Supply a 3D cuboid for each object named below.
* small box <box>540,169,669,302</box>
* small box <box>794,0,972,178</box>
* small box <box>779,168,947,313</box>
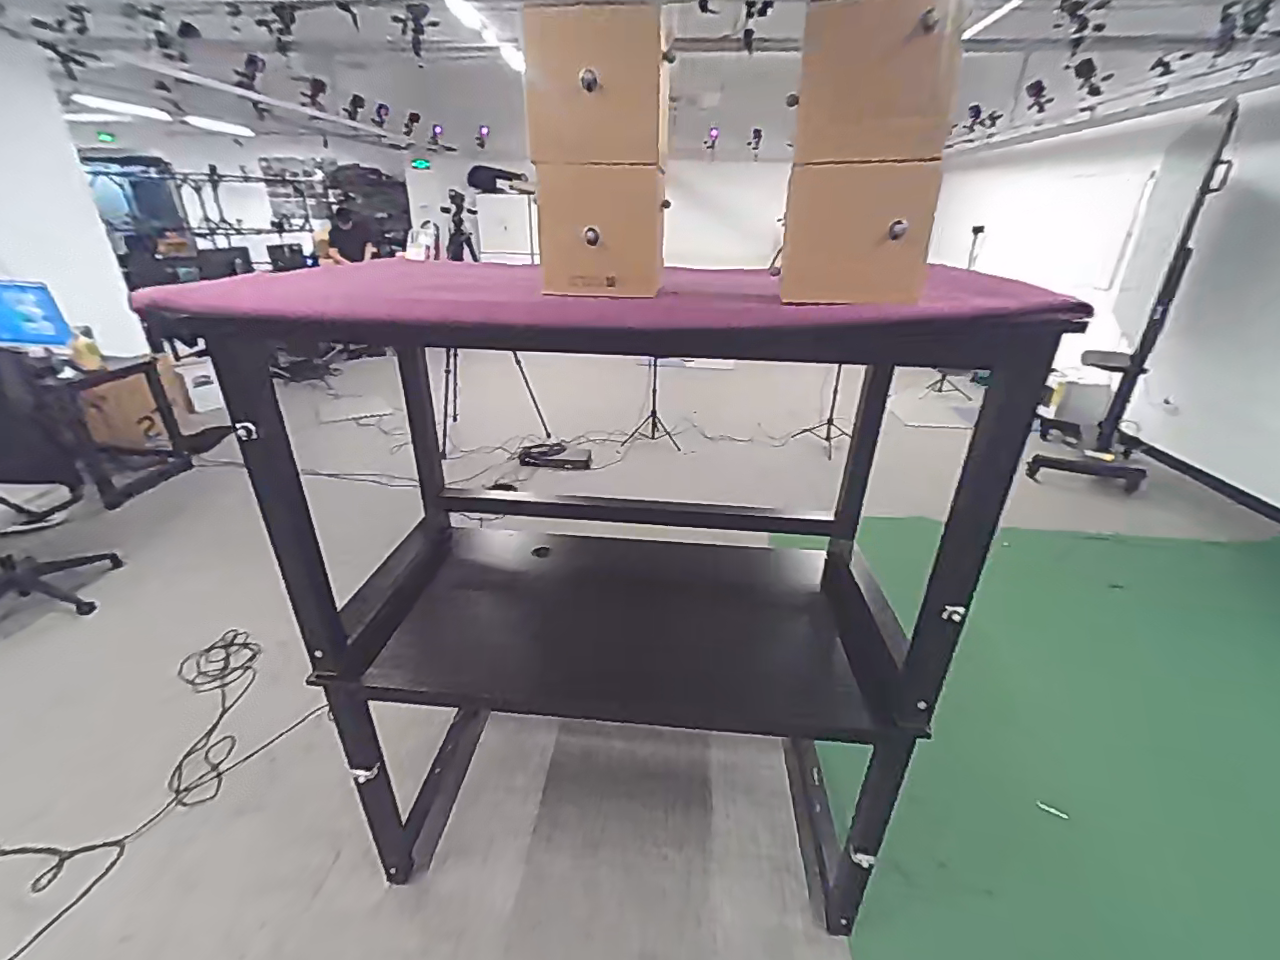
[{"bbox_3d":[-0.045,-0.370,0.824,0.168,0.176,0.179,4,25,5],"label":"small box"},{"bbox_3d":[0.297,-0.484,0.704,0.179,0.176,0.168,6,23,12],"label":"small box"},{"bbox_3d":[0.297,-0.331,0.761,0.179,0.176,0.168,3,23,10],"label":"small box"}]
